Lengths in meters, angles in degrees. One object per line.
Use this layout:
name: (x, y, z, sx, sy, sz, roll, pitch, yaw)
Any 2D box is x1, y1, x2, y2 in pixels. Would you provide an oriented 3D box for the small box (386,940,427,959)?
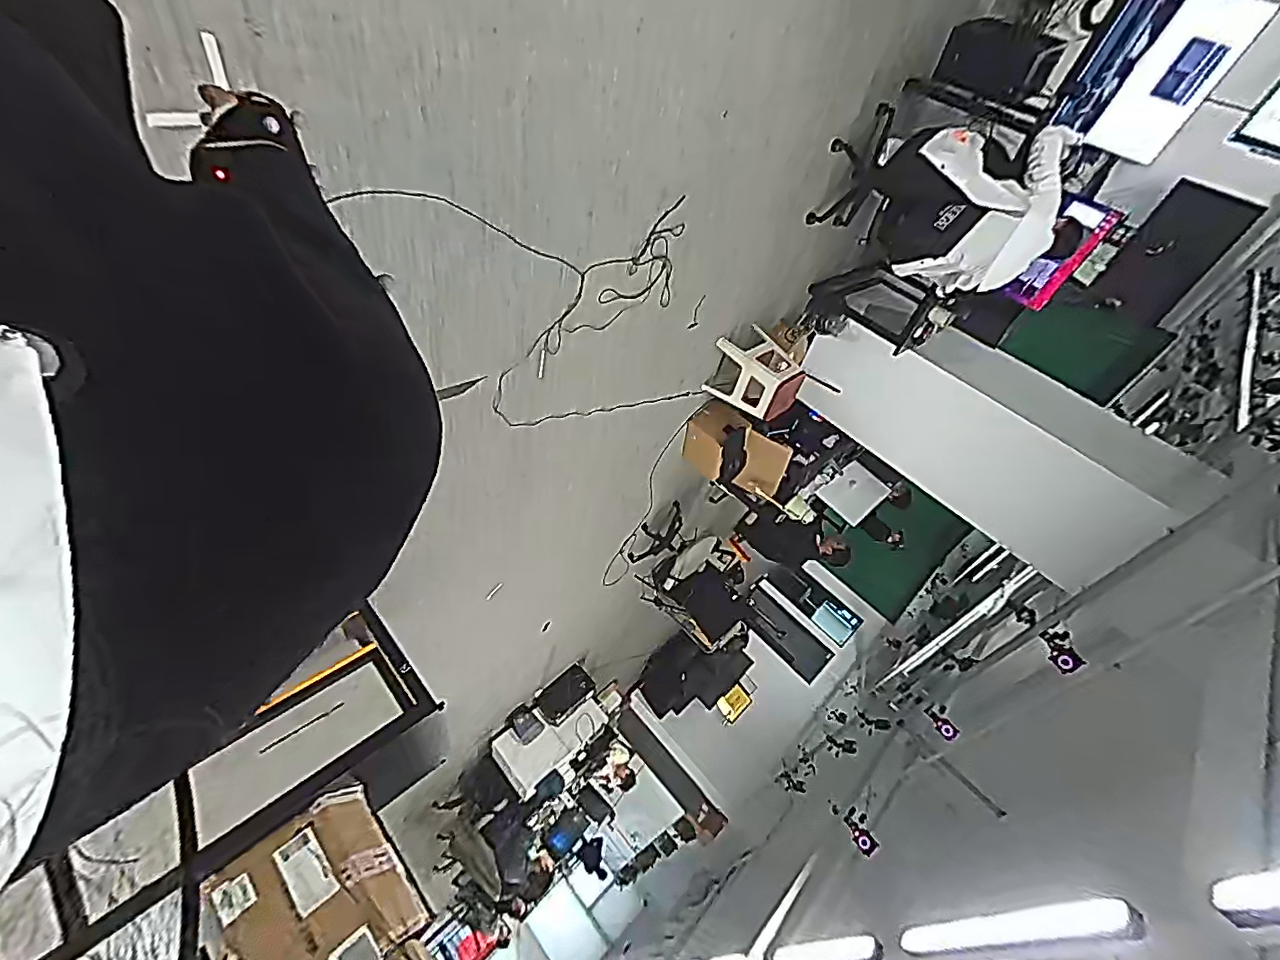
small box: (-0.675, 1.448, 1.526, 0.168, 0.176, 0.179, -31, 150, -33)
